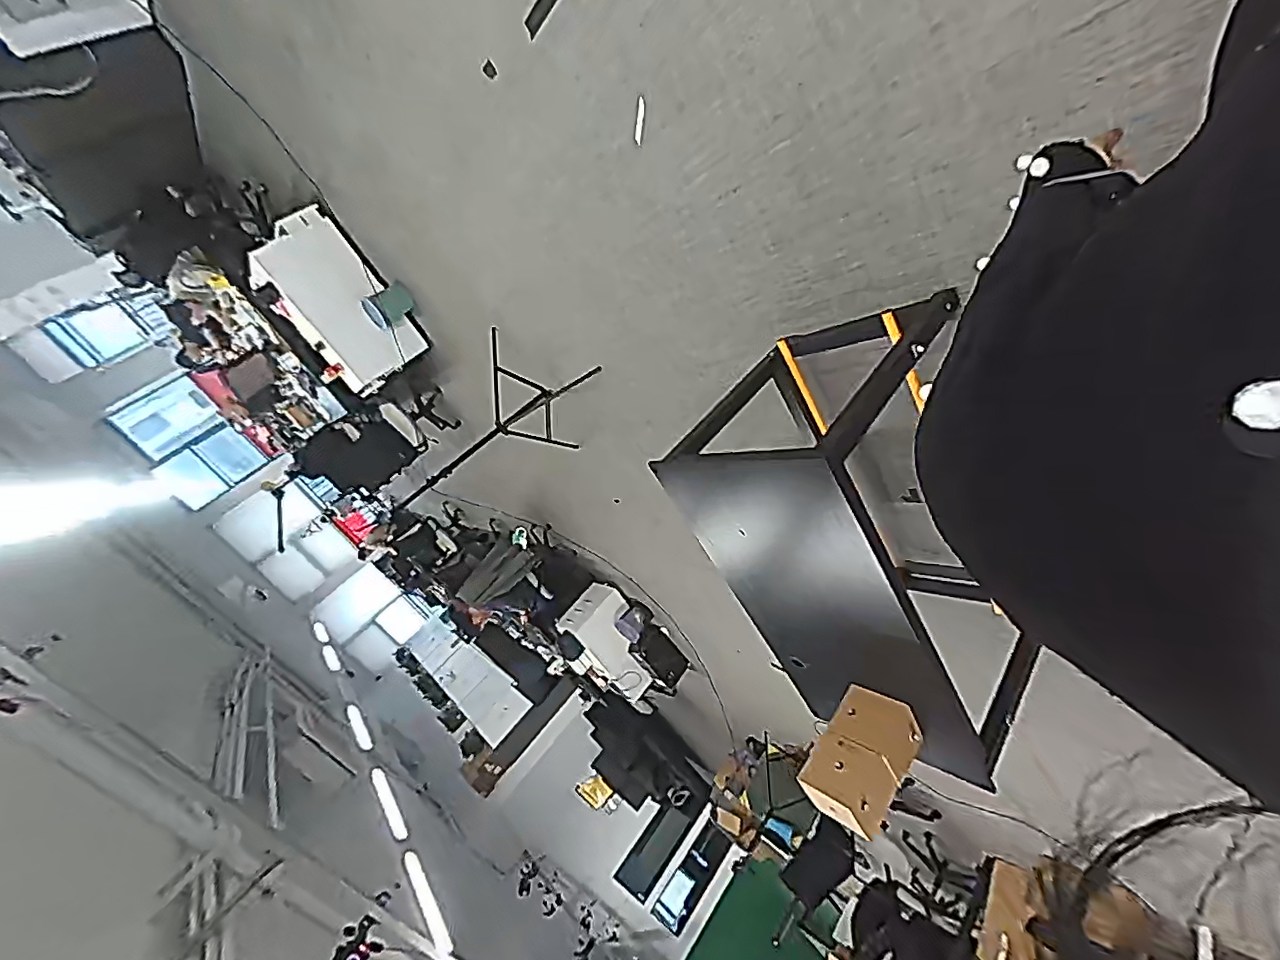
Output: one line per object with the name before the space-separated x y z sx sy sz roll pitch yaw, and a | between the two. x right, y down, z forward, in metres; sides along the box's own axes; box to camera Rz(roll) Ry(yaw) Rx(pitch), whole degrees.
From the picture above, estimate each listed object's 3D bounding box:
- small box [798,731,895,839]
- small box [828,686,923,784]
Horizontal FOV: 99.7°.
small box | 0.578 0.838 1.503 0.168 0.176 0.179 6 136 54
small box | 0.683 0.728 1.567 0.179 0.176 0.168 4 134 52
